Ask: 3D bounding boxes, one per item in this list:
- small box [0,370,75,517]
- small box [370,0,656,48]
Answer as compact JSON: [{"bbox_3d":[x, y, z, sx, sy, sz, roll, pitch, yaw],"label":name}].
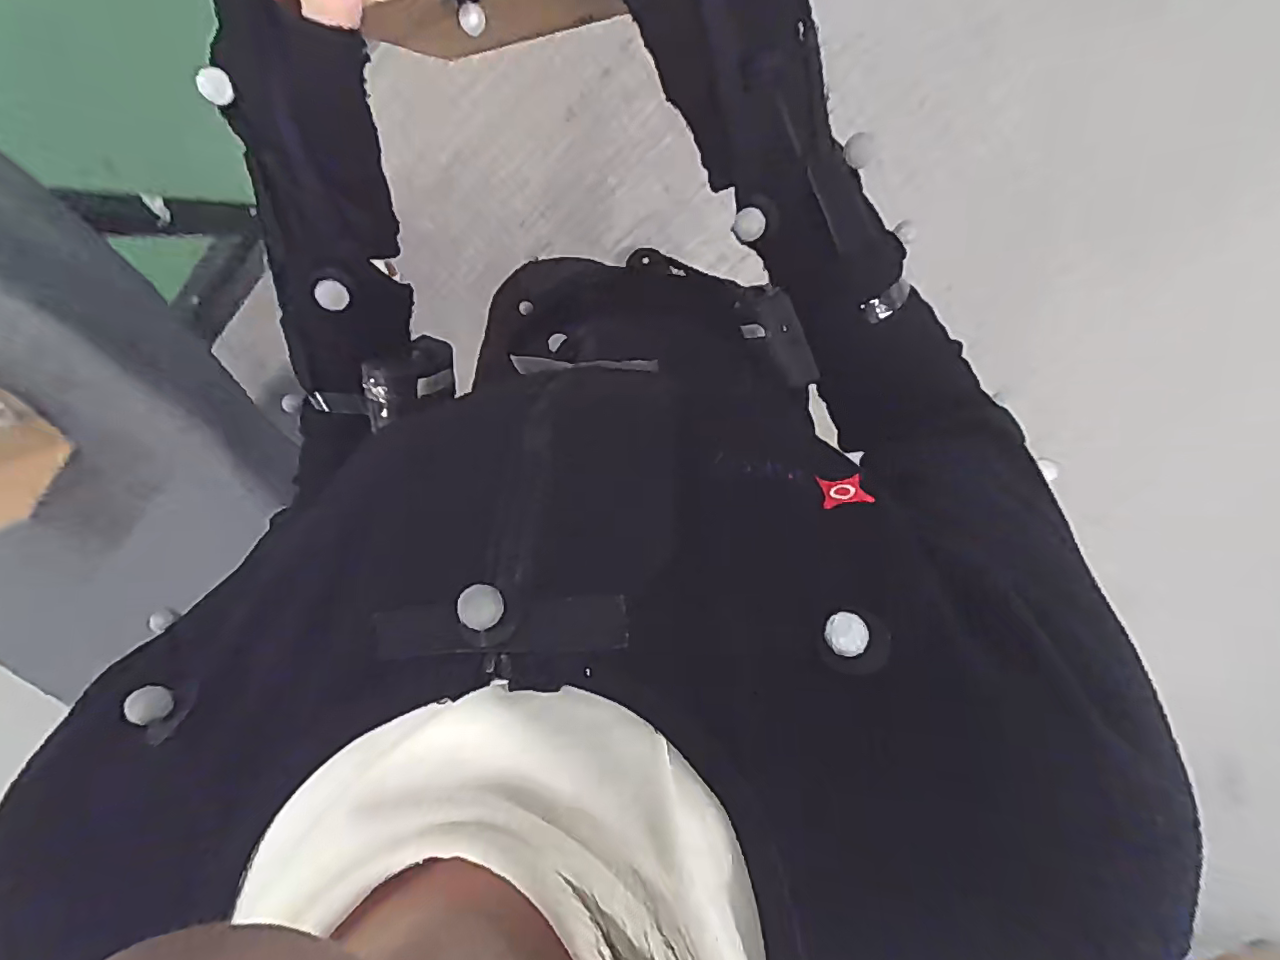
[{"bbox_3d":[-0.865,-0.035,0.654,0.179,0.176,0.168,-40,108,18],"label":"small box"},{"bbox_3d":[-0.072,-0.330,0.244,0.168,0.176,0.179,-7,123,8],"label":"small box"}]
